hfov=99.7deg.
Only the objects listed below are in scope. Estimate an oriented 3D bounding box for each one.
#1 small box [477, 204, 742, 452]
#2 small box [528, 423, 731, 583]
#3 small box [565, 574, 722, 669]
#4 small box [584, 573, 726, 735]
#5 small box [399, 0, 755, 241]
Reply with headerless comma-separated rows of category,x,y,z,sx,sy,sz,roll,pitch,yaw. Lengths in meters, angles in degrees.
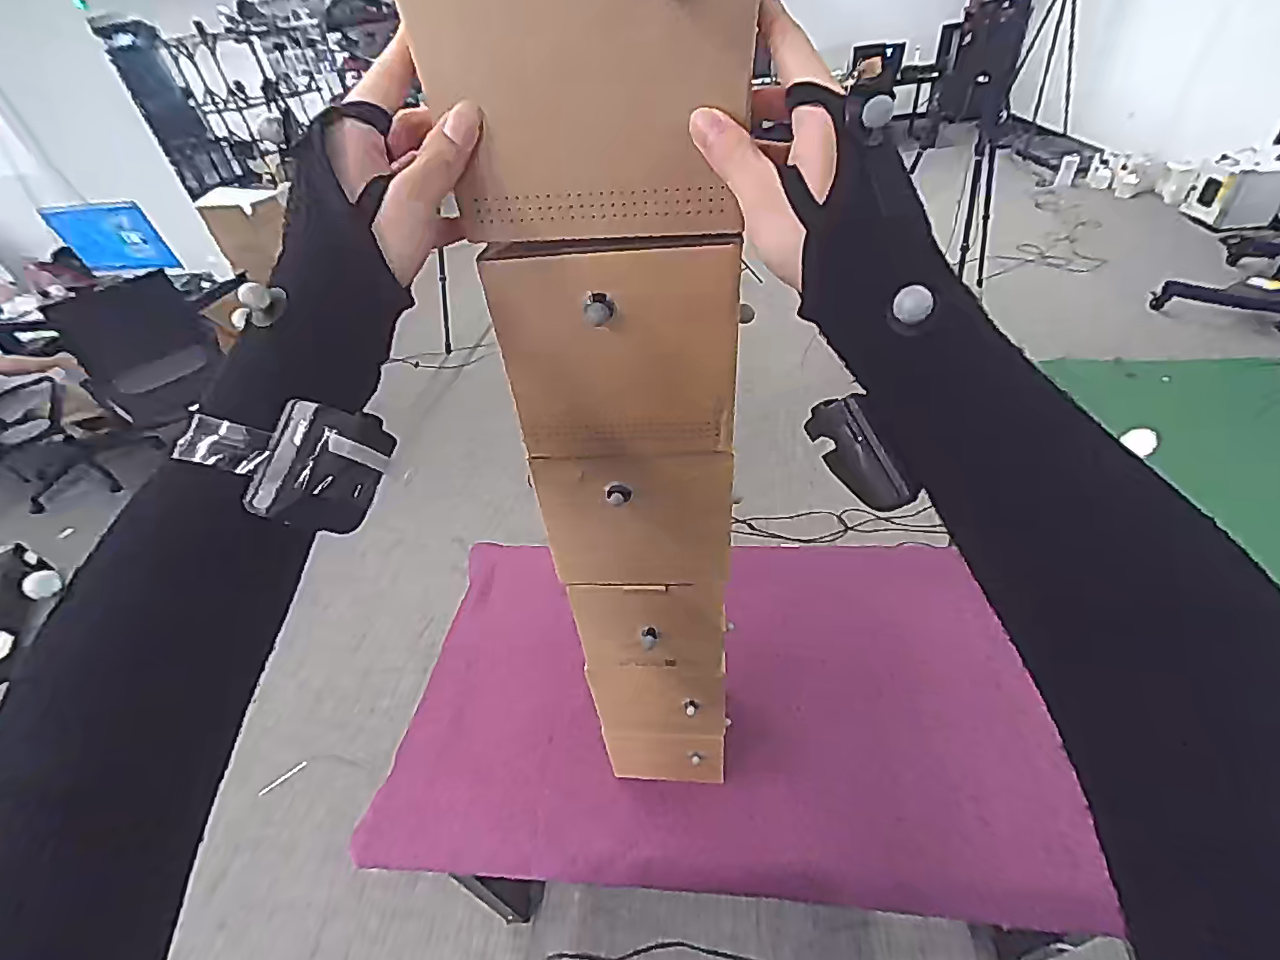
small box,-0.009,-0.135,0.459,0.179,0.176,0.168,-2,40,7
small box,0.002,-0.008,0.560,0.179,0.176,0.168,-1,40,6
small box,0.016,0.115,0.668,0.168,0.176,0.179,-1,40,7
small box,0.031,0.243,0.768,0.179,0.176,0.168,-1,40,8
small box,-0.022,-0.264,0.334,0.179,0.176,0.168,0,47,7
